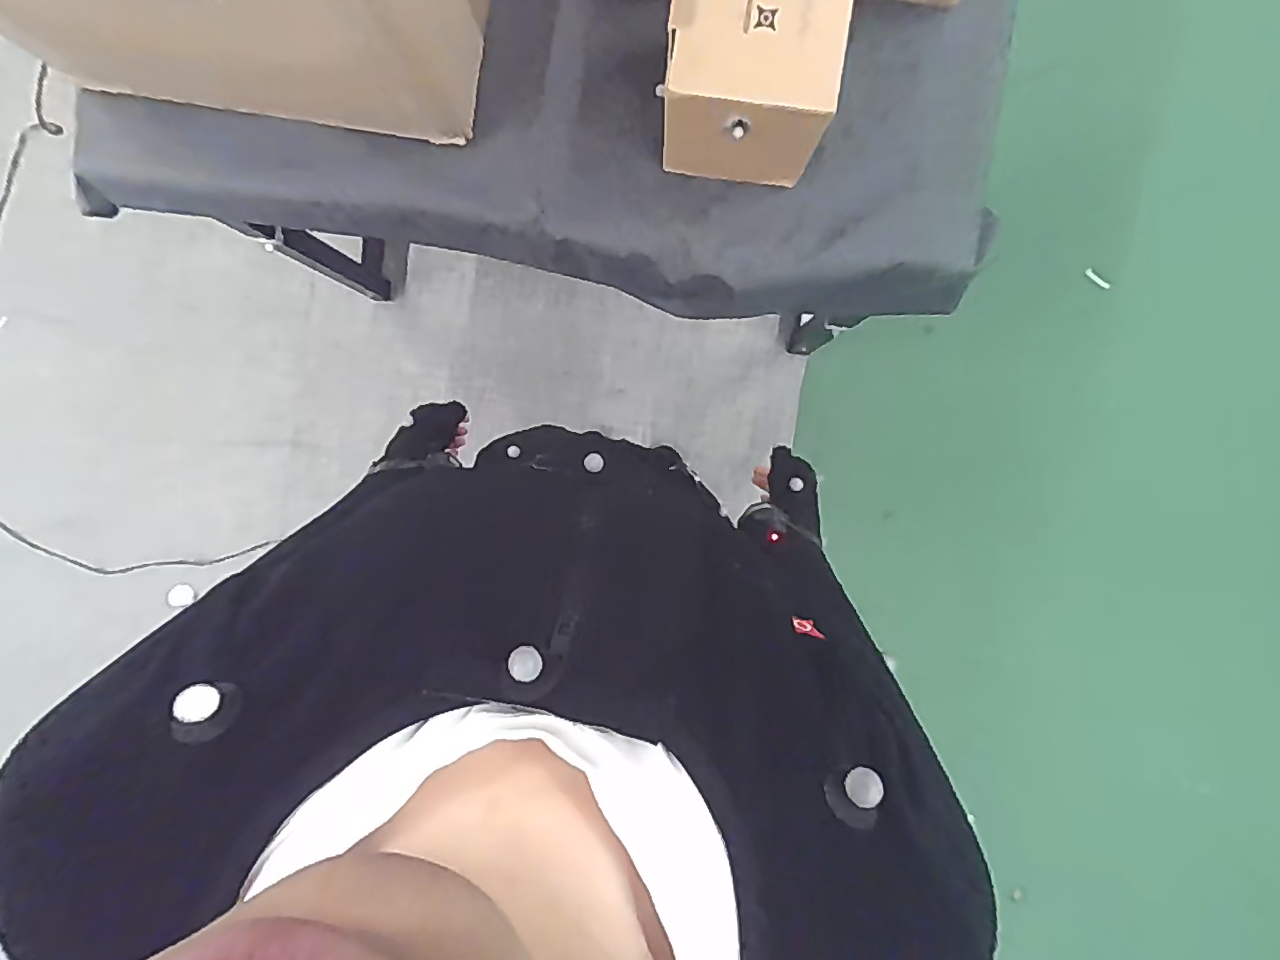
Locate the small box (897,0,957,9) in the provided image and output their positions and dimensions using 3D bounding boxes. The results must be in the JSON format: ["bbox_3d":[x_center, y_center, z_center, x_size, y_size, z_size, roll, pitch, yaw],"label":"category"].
[{"bbox_3d":[0.335,-0.692,0.603,0.168,0.176,0.179,11,95,1],"label":"small box"}]

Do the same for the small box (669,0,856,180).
[{"bbox_3d":[0.130,-0.475,0.625,0.179,0.176,0.168,8,95,0],"label":"small box"}]
